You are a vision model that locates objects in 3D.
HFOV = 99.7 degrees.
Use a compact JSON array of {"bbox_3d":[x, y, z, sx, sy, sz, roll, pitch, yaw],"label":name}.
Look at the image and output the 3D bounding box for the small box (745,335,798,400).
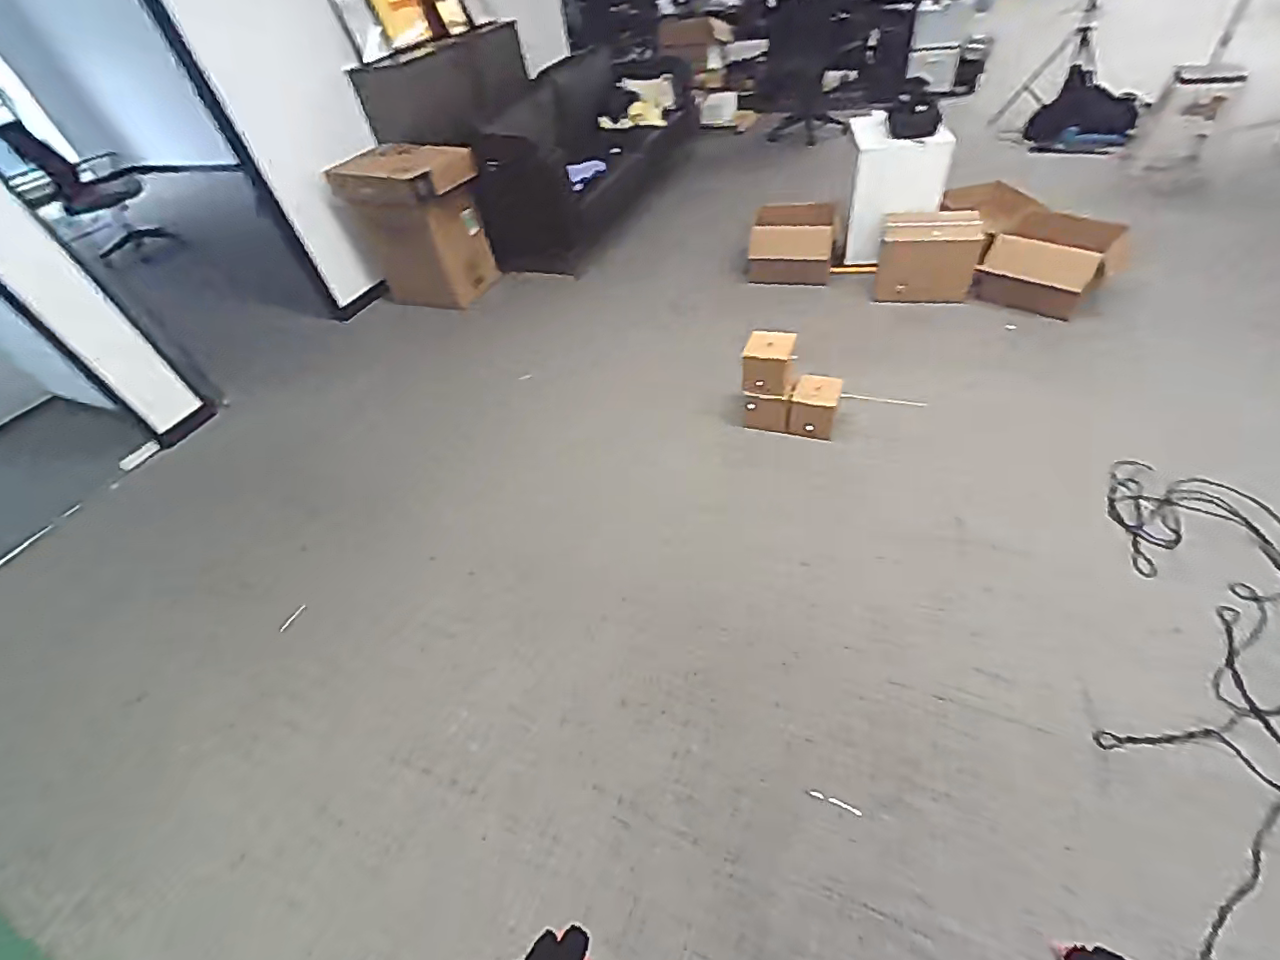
[{"bbox_3d":[0.498,-0.431,2.064,0.168,0.176,0.179,11,49,20],"label":"small box"}]
